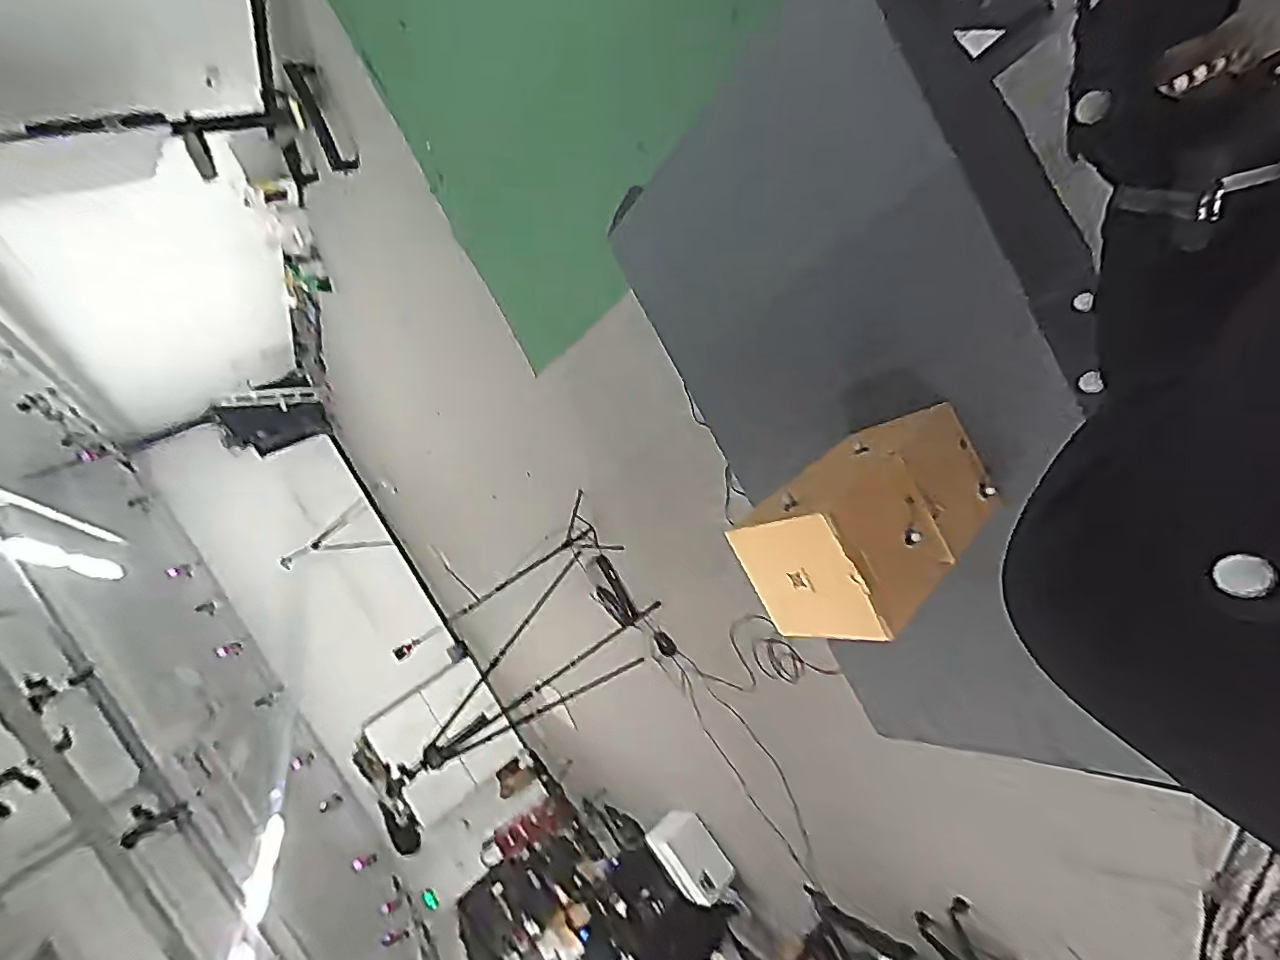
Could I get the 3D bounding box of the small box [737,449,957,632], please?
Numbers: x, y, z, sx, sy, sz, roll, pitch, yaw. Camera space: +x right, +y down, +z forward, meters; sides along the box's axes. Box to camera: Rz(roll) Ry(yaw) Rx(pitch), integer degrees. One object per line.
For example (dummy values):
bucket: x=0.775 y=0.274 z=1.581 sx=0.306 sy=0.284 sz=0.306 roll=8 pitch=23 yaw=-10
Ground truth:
small box: x=0.269 y=0.080 z=0.711 sx=0.168 sy=0.176 sz=0.179 roll=61 pitch=148 yaw=-3

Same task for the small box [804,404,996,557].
small box: x=0.387 y=0.009 z=0.797 sx=0.168 sy=0.176 sz=0.179 roll=60 pitch=149 yaw=-3
